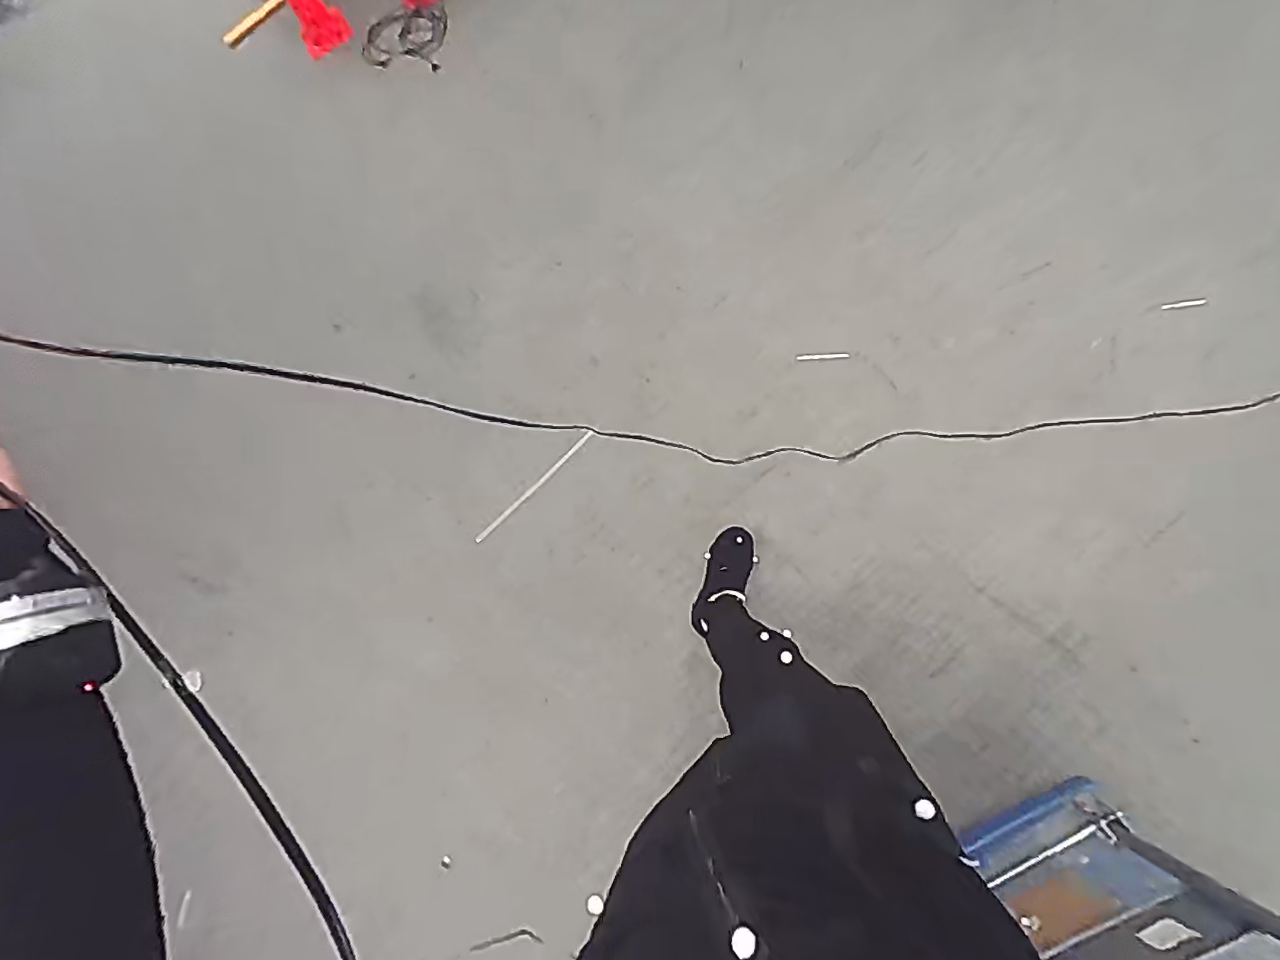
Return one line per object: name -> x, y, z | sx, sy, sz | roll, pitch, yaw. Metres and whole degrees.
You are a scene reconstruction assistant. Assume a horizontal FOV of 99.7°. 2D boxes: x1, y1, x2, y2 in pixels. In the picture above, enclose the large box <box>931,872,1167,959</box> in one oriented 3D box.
large box -> 0.761, 0.957, 0.851 | 0.320, 0.320, 0.408 | -33, 73, 3
